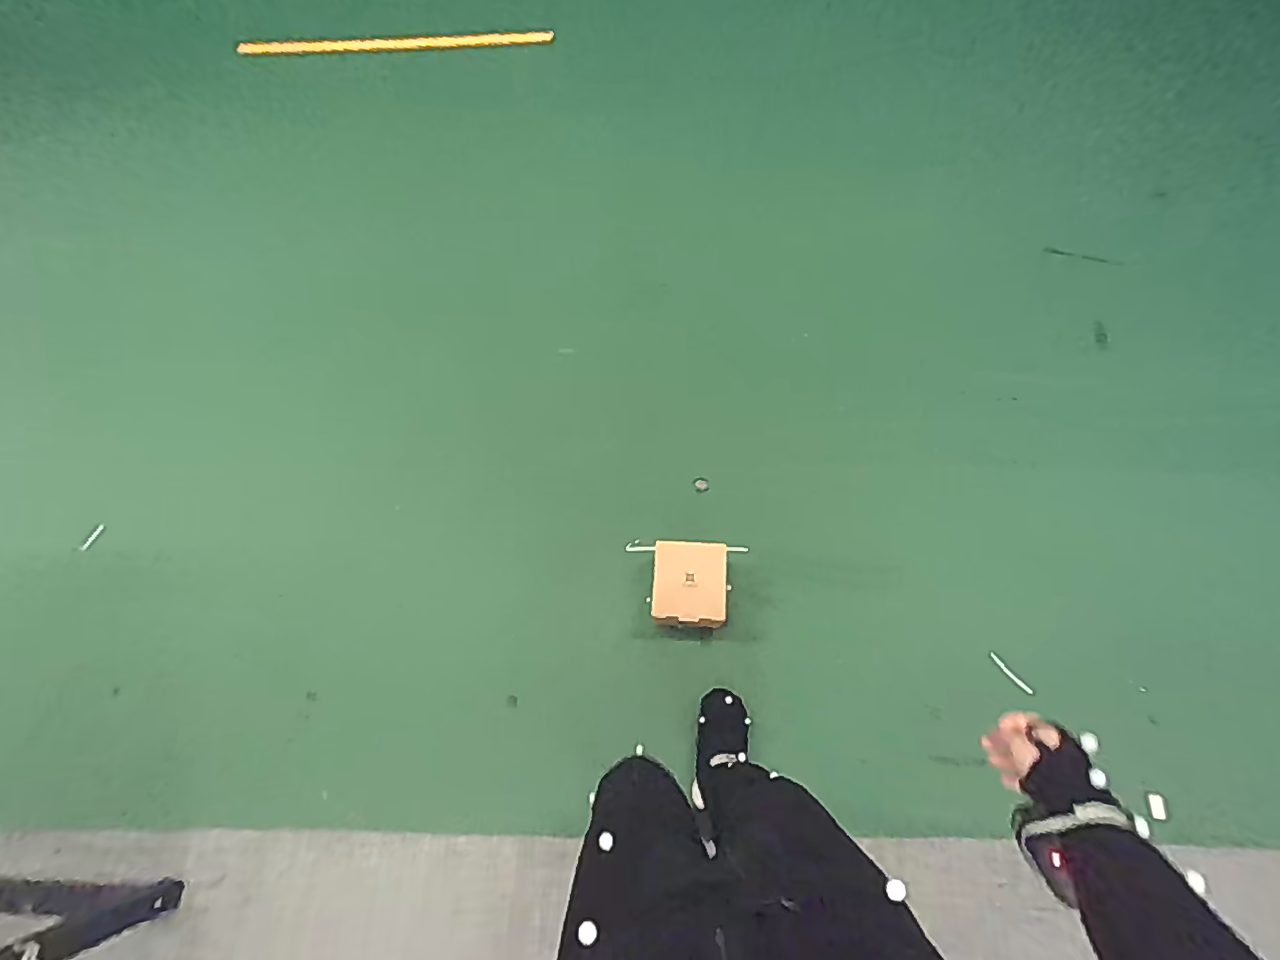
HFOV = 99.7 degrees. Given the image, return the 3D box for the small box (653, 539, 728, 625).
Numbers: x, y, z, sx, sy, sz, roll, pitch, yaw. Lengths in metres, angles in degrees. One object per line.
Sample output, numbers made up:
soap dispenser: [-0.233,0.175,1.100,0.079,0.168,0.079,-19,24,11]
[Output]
small box: [0.118,0.250,1.304,0.168,0.176,0.179,3,72,3]
